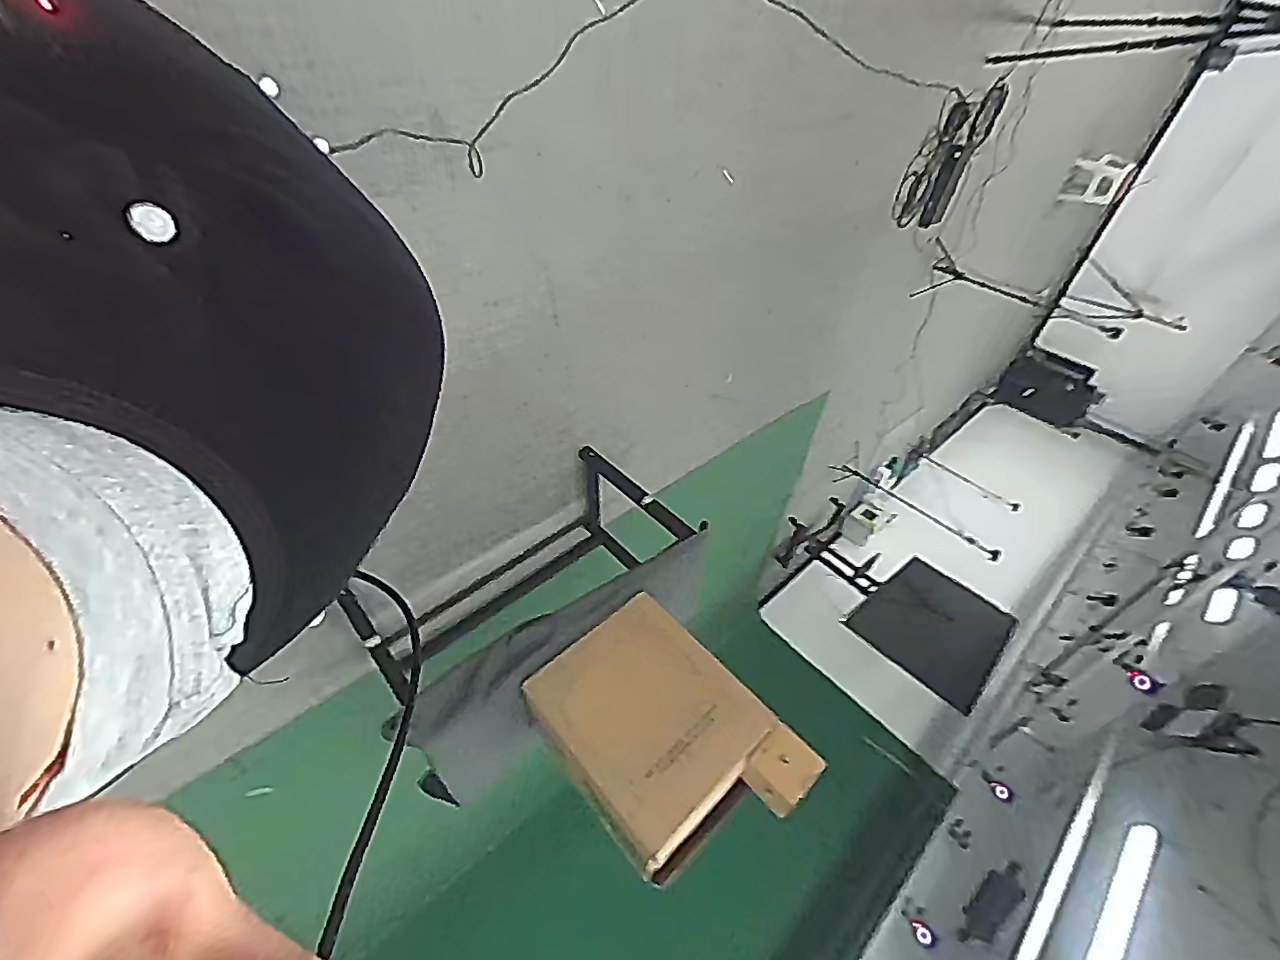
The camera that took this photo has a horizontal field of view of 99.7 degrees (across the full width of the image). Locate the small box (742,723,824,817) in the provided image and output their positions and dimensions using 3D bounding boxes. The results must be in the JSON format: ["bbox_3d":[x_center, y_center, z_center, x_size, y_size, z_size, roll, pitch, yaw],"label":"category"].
[{"bbox_3d":[0.433,0.884,1.660,0.168,0.176,0.179,-35,145,-28],"label":"small box"}]
